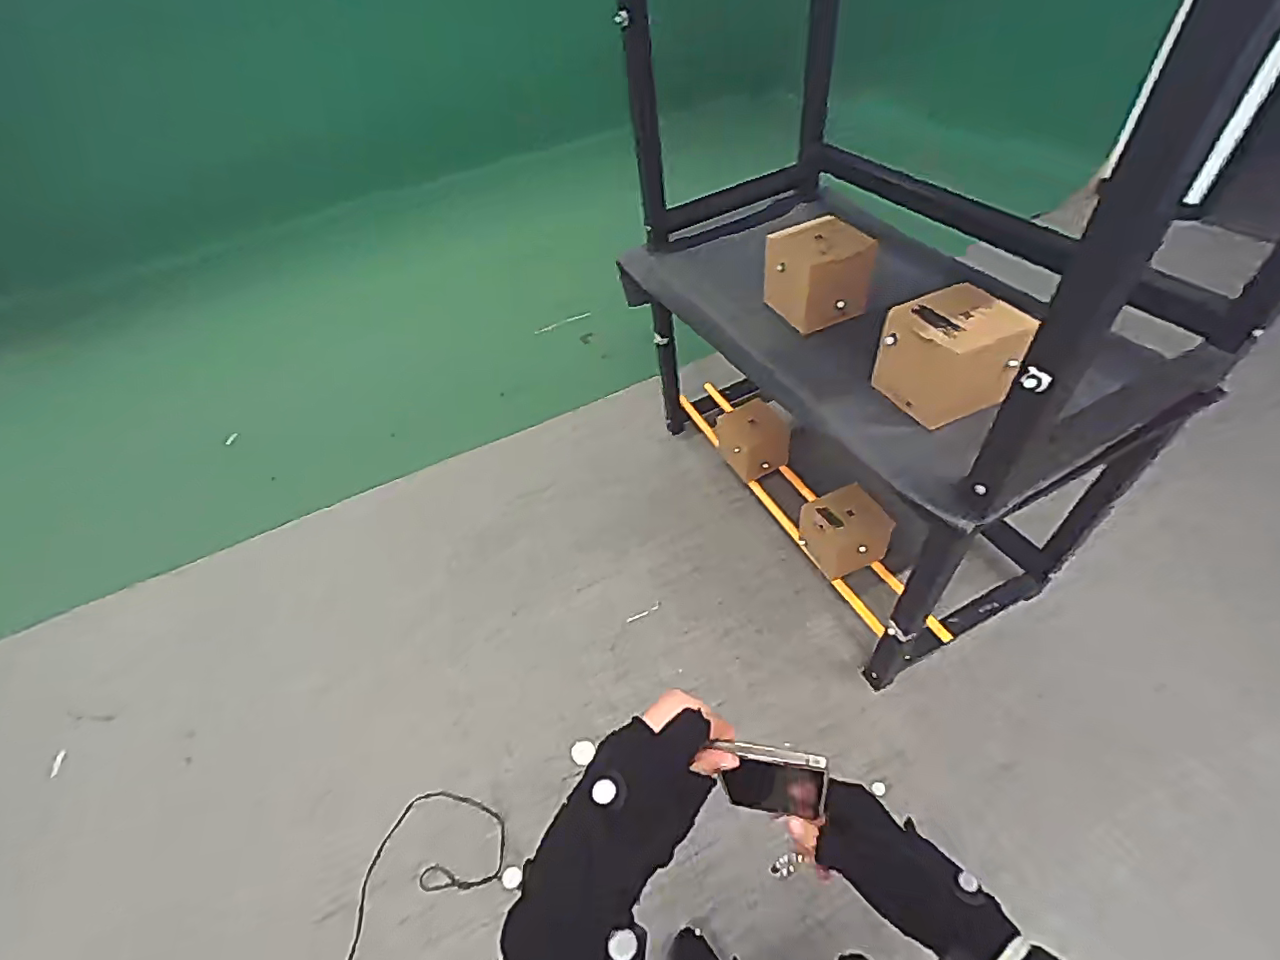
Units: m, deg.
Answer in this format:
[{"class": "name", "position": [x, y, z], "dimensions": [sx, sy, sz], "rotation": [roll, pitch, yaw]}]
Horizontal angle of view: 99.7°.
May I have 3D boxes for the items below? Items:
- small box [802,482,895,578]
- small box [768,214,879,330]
[{"class": "small box", "position": [0.566, 0.142, 1.493], "dimensions": [0.179, 0.176, 0.168], "rotation": [-22, 49, -9]}, {"class": "small box", "position": [0.401, -0.468, 1.222], "dimensions": [0.168, 0.176, 0.179], "rotation": [-22, 49, -9]}]
